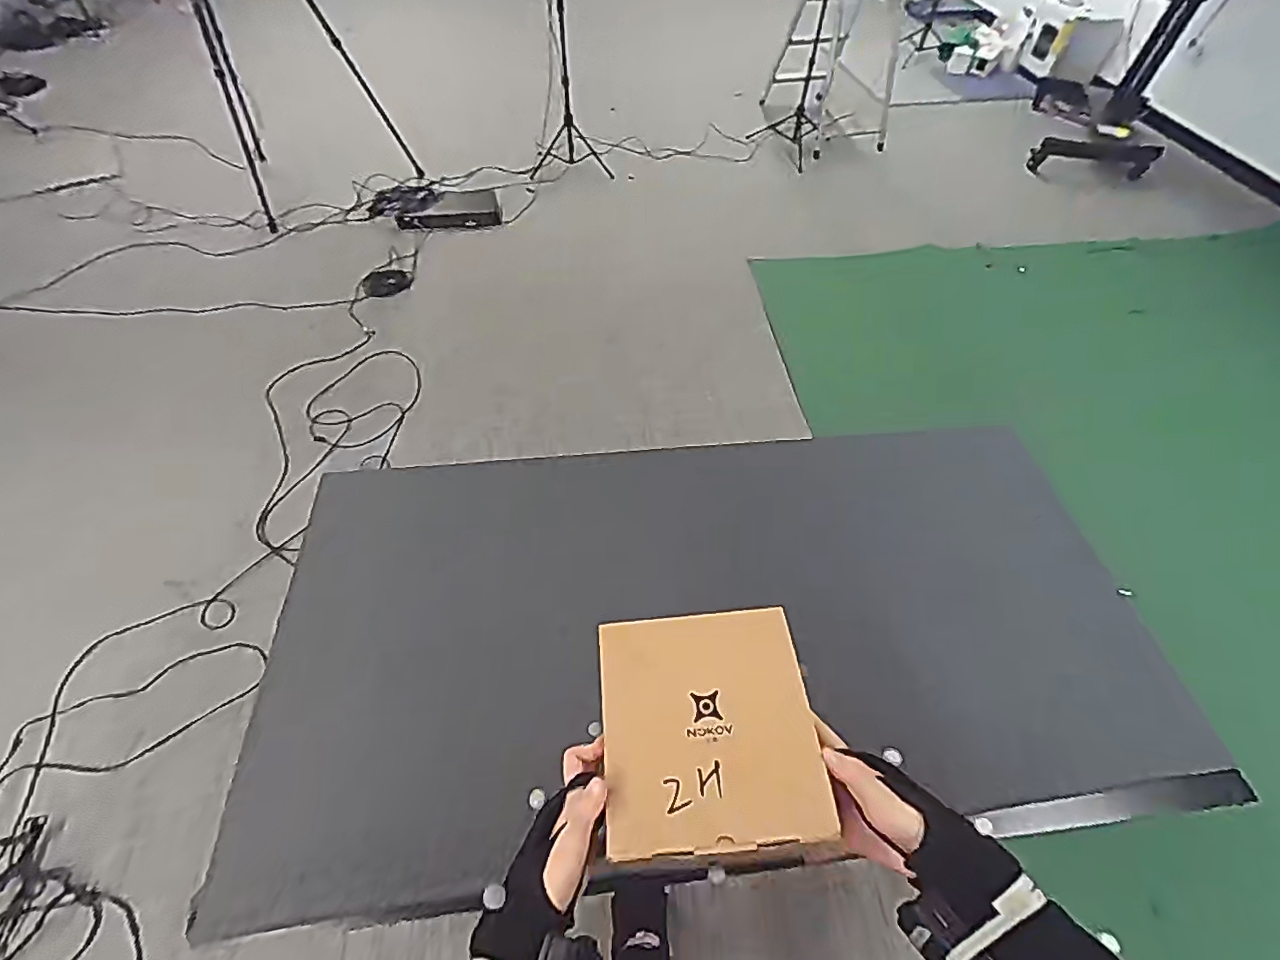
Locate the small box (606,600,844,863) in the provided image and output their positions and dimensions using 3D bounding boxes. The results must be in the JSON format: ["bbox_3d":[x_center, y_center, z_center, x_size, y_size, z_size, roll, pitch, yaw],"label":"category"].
[{"bbox_3d":[0.060,0.231,0.492,0.168,0.176,0.179,-6,52,0],"label":"small box"}]
